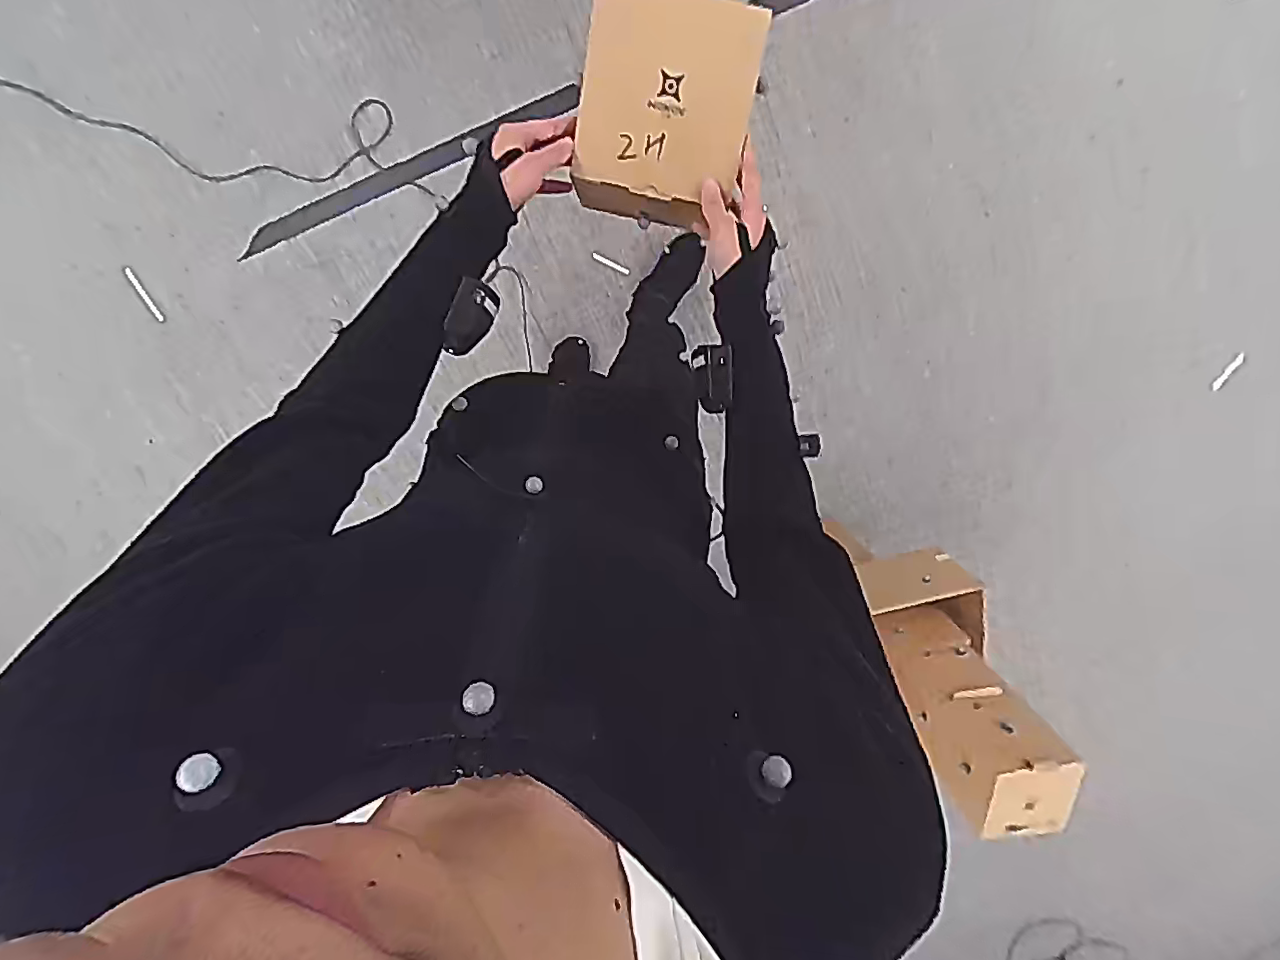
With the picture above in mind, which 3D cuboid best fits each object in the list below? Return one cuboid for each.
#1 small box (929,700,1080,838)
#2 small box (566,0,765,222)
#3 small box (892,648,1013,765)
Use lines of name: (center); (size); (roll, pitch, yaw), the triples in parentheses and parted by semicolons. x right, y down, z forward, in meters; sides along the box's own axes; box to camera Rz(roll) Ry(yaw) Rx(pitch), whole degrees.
small box: (0.692, 0.549, 1.049); (0.168, 0.176, 0.179); (-3, 111, -2)
small box: (0.019, -0.401, 0.590); (0.168, 0.176, 0.179); (10, 107, -4)
small box: (0.684, 0.494, 1.205); (0.168, 0.176, 0.179); (-7, 112, -1)
